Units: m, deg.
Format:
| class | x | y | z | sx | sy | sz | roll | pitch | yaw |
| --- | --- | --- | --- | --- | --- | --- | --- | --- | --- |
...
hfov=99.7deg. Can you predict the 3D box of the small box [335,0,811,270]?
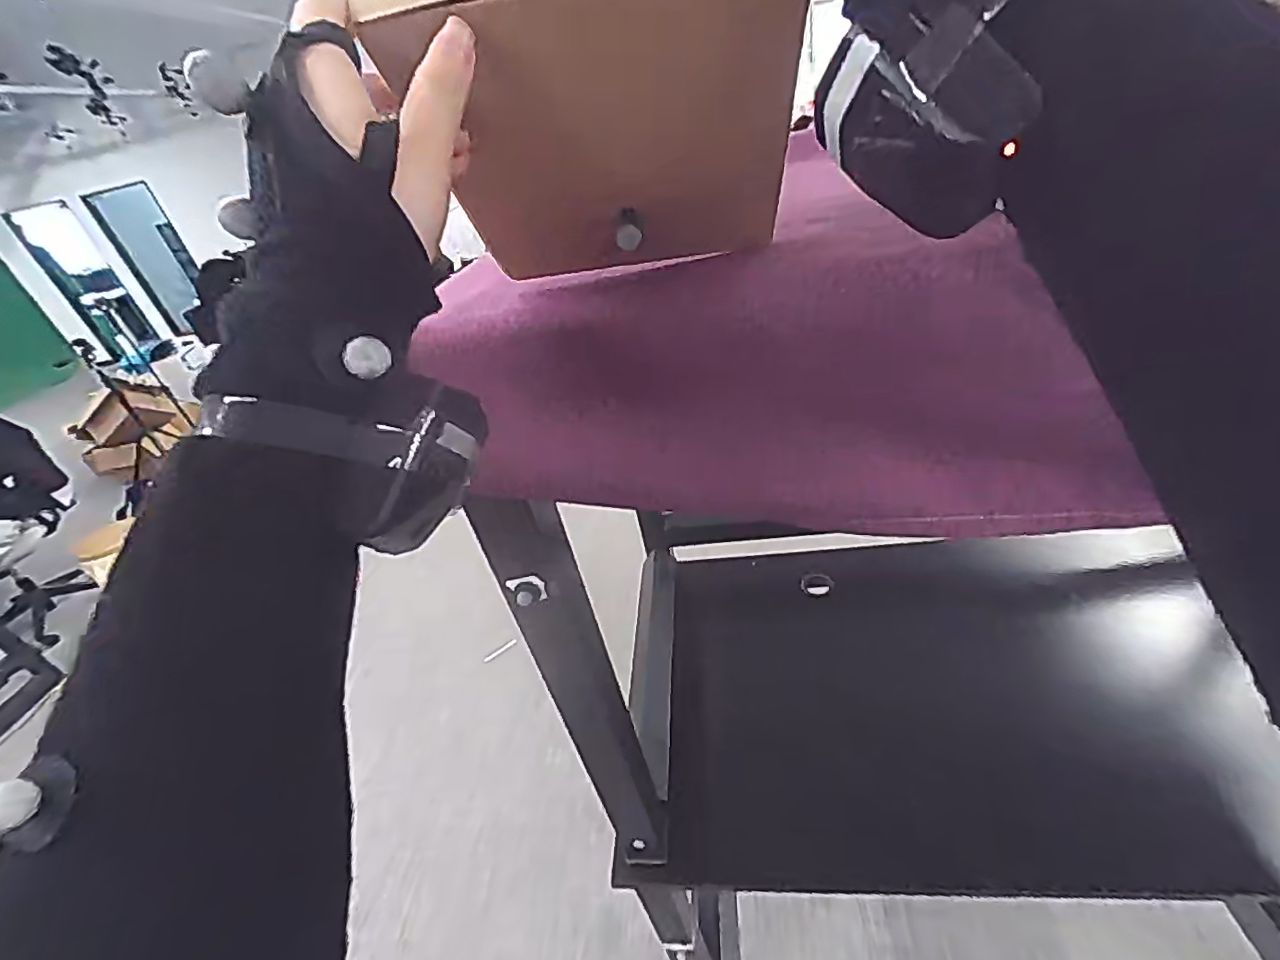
| class | x | y | z | sx | sy | sz | roll | pitch | yaw |
| --- | --- | --- | --- | --- | --- | --- | --- | --- | --- |
| small box | -0.021 | -0.236 | 0.281 | 0.179 | 0.176 | 0.168 | -6 | 74 | 6 |
